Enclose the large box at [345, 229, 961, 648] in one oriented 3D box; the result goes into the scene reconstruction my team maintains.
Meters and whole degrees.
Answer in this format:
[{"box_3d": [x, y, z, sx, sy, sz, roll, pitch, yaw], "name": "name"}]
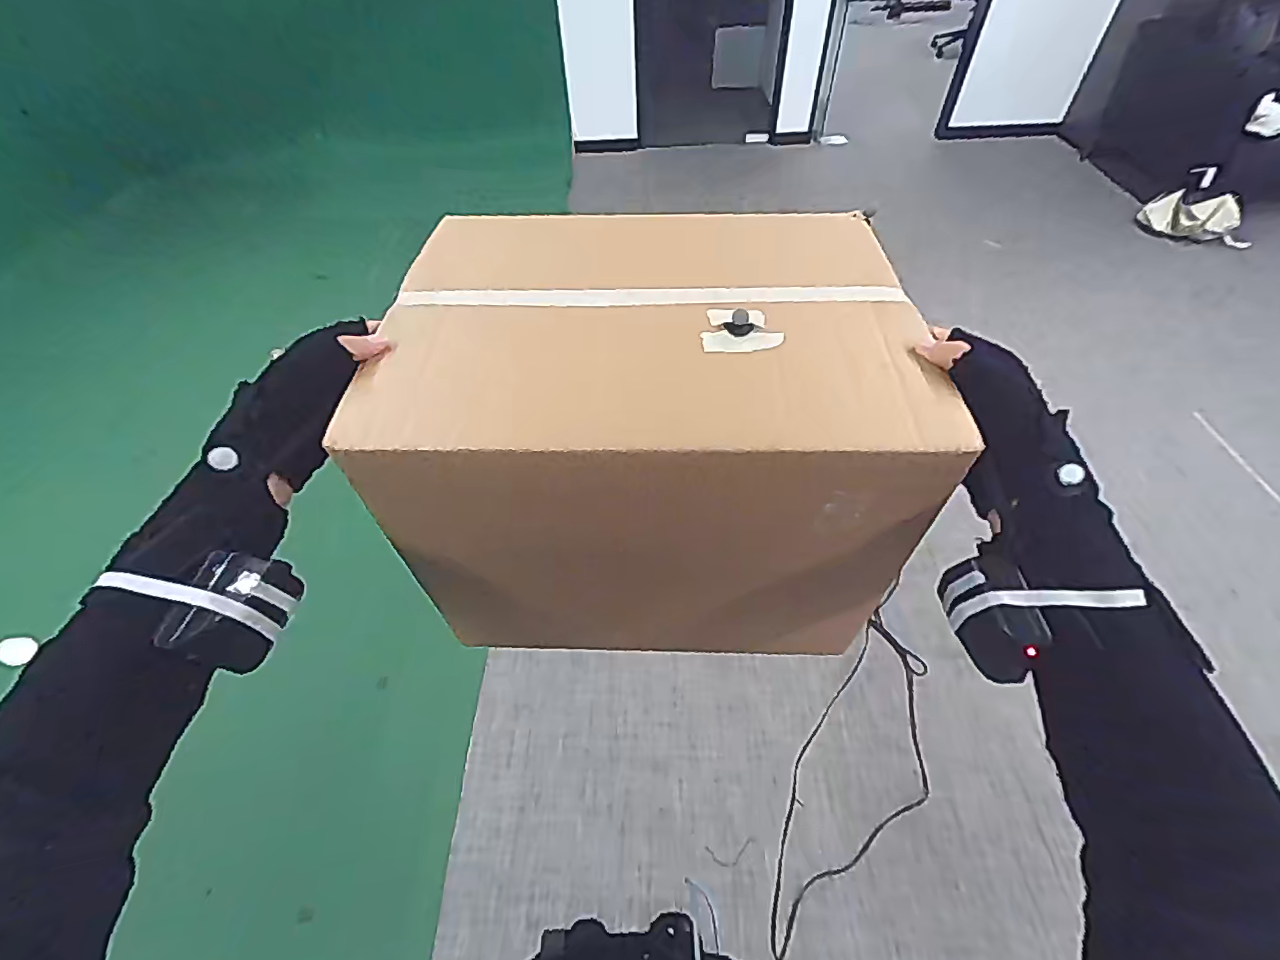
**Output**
[{"box_3d": [0.009, -0.035, 0.551, 0.408, 0.320, 0.320, 1, 51, 1], "name": "large box"}]
